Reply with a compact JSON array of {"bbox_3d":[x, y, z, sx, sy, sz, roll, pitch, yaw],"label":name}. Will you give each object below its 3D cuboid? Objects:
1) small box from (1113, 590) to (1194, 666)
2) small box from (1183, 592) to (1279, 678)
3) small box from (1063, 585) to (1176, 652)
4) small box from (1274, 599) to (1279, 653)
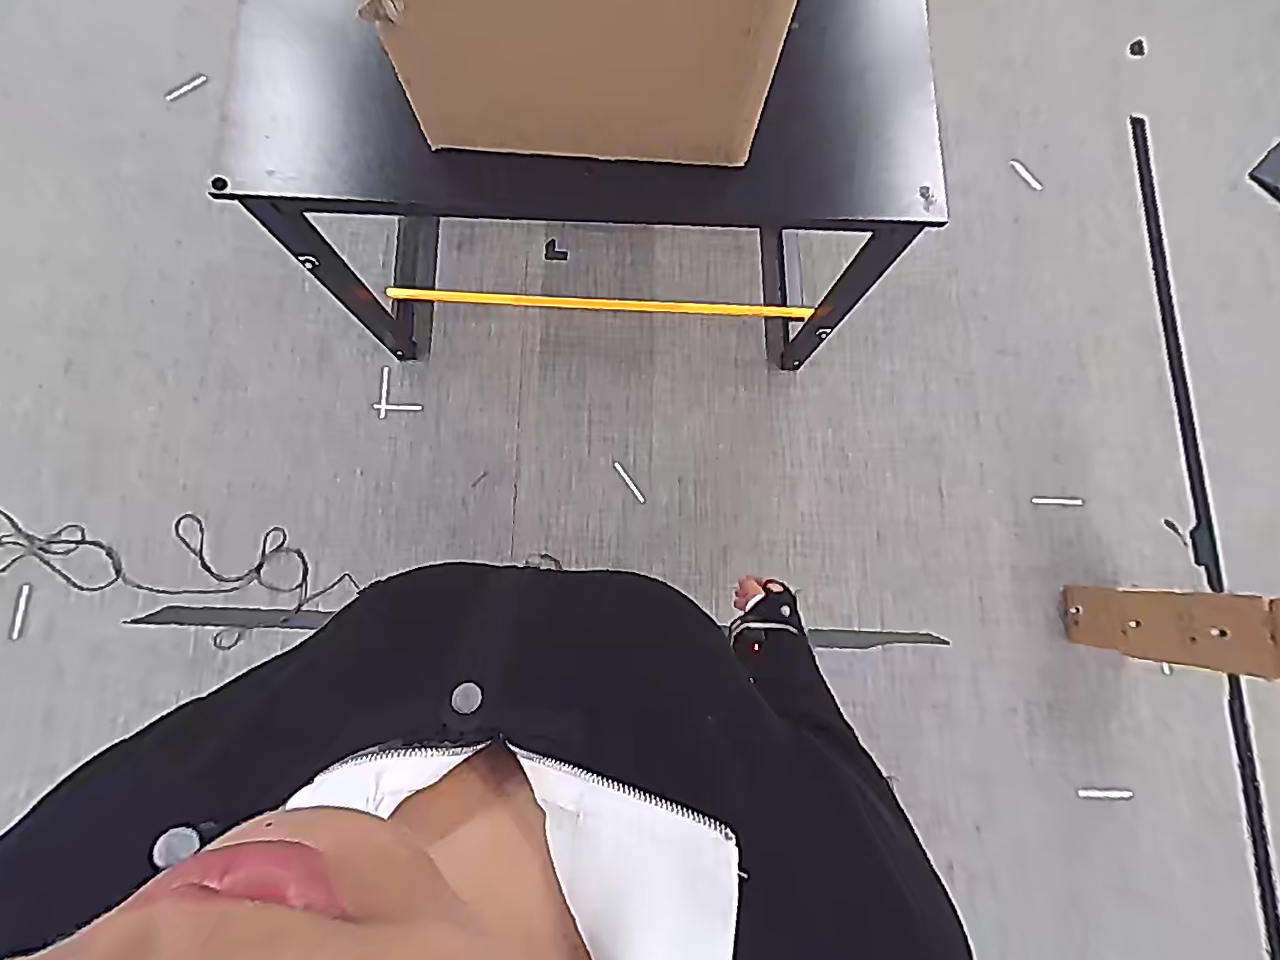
[{"bbox_3d":[1.305,0.354,1.307,0.179,0.176,0.168,2,79,-2],"label":"small box"},{"bbox_3d":[1.311,0.325,1.145,0.179,0.176,0.168,3,80,-2],"label":"small box"},{"bbox_3d":[1.307,0.374,1.471,0.179,0.176,0.168,1,79,-1],"label":"small box"},{"bbox_3d":[1.329,0.305,0.982,0.168,0.176,0.179,1,81,-3],"label":"small box"}]
